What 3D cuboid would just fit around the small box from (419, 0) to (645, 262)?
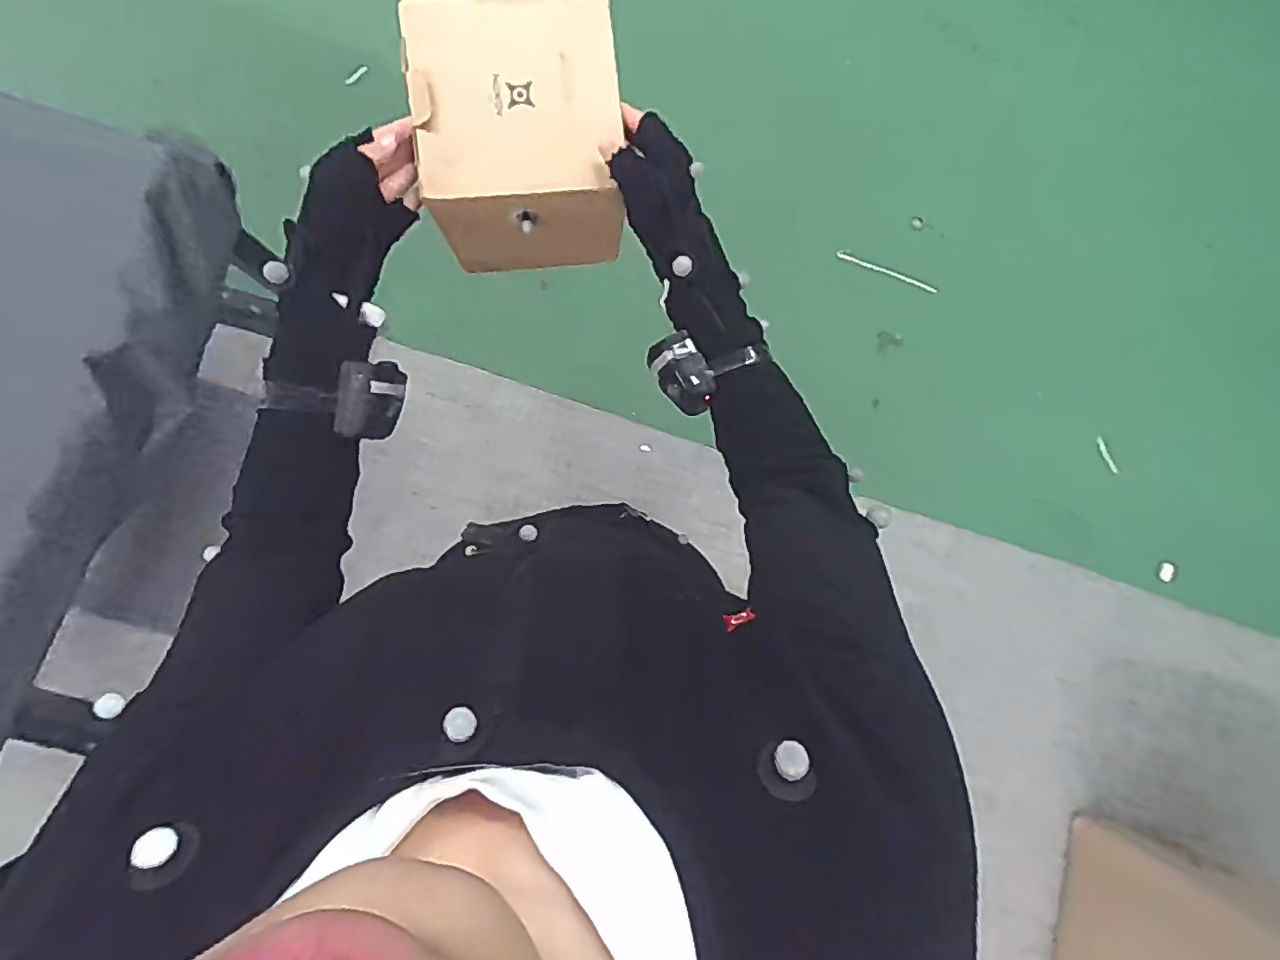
[{"bbox_3d":[-0.097,-0.328,0.533,0.179,0.176,0.168,-7,92,-7],"label":"small box"}]
